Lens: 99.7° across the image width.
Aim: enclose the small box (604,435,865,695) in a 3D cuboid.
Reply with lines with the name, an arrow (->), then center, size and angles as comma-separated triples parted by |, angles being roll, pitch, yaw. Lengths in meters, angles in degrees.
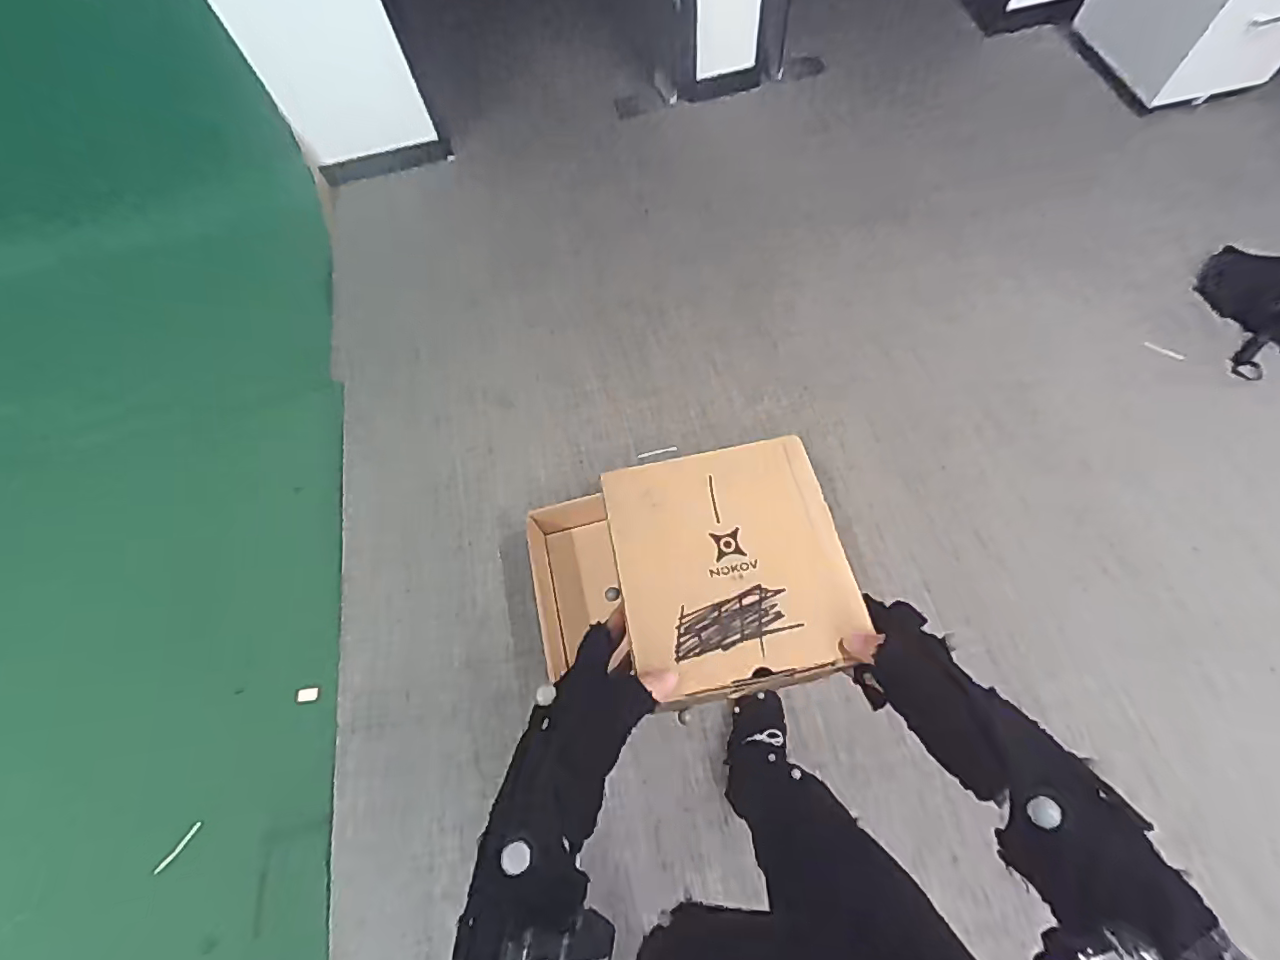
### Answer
small box -> 0.070, 0.087, 0.483 | 0.168, 0.176, 0.179 | -11, 64, -2
